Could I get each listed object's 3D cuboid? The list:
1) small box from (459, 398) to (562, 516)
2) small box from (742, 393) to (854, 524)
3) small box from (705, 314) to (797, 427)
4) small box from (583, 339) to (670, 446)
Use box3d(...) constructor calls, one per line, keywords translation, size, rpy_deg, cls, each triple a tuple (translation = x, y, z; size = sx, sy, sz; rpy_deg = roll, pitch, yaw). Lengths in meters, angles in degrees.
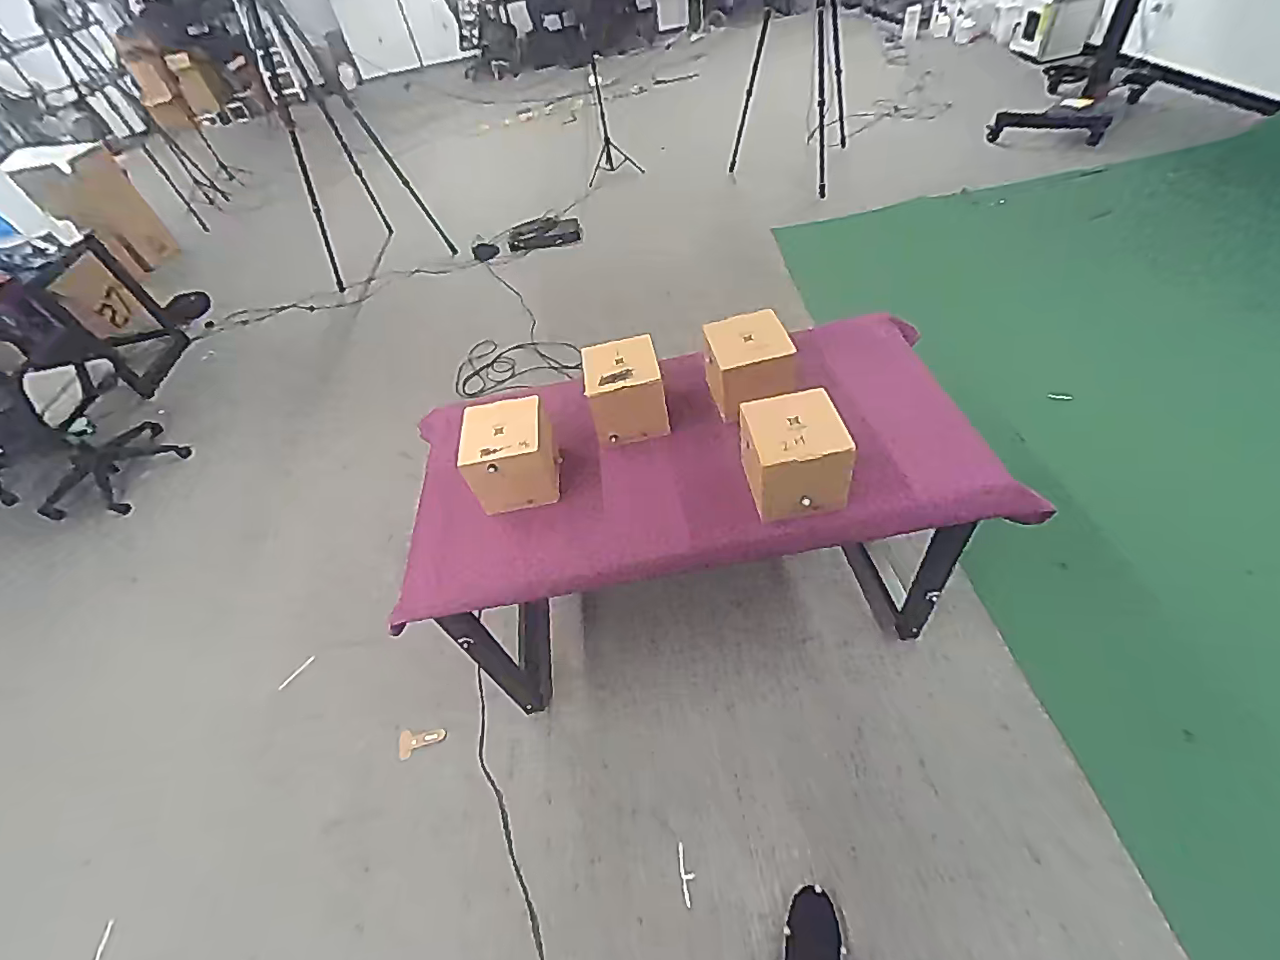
box3d(translation=(-0.273, -0.049, 1.178), size=(0.168, 0.176, 0.179), rpy_deg=(-11, 48, 3), cls="small box")
box3d(translation=(0.297, -0.040, 1.052), size=(0.168, 0.176, 0.179), rpy_deg=(-11, 47, 3), cls="small box")
box3d(translation=(0.250, -0.250, 1.249), size=(0.168, 0.176, 0.179), rpy_deg=(-13, 49, 2), cls="small box")
box3d(translation=(-0.029, -0.197, 1.259), size=(0.168, 0.176, 0.179), rpy_deg=(-12, 47, 1), cls="small box")
